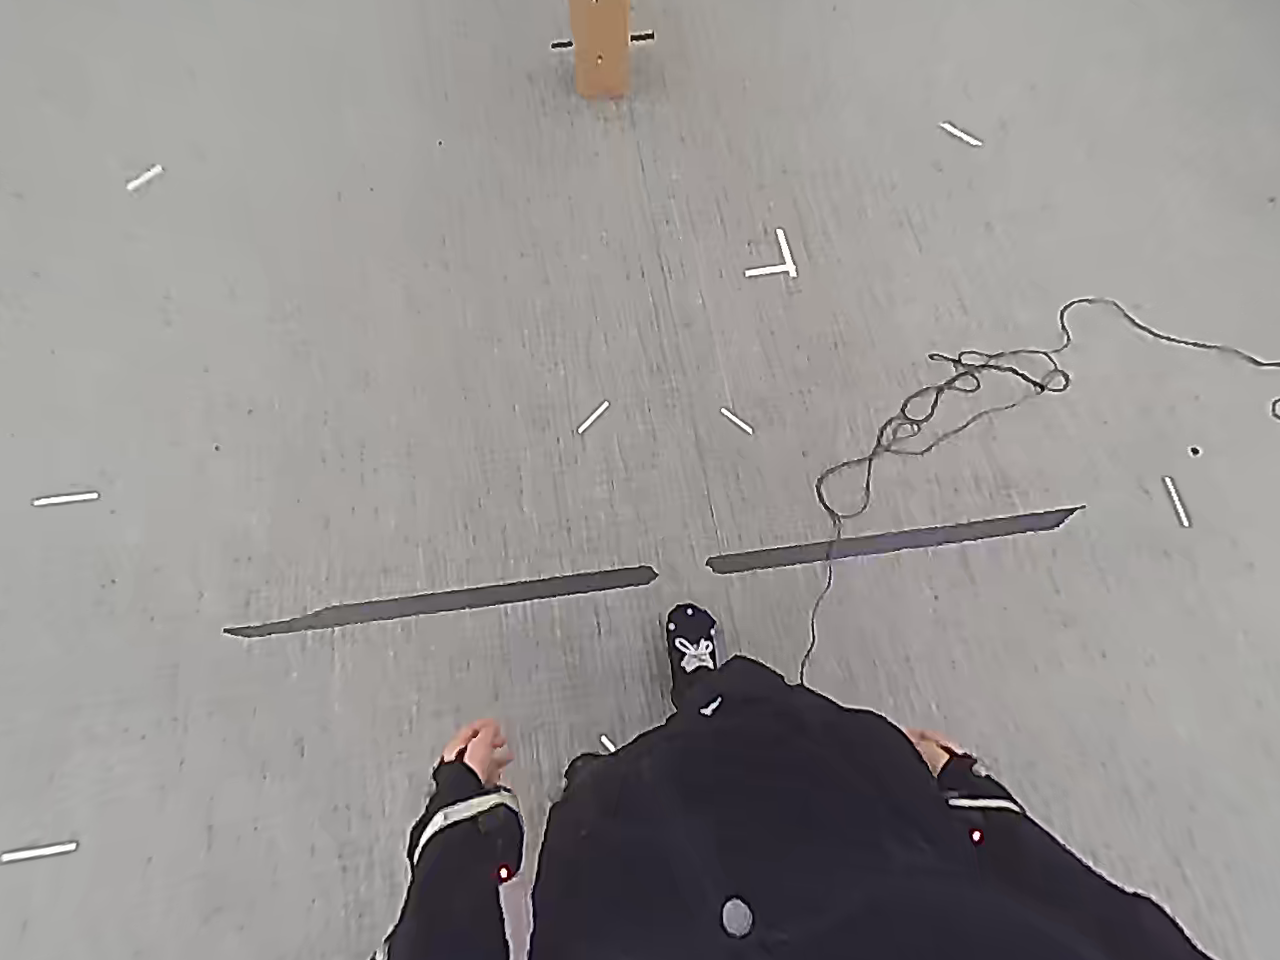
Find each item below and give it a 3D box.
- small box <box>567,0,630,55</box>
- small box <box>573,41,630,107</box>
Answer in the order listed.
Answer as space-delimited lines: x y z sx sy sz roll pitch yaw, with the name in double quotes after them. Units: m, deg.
-0.121 -1.411 1.611 0.179 0.176 0.168 2 75 -1 "small box"
-0.123 -1.357 1.766 0.179 0.176 0.168 -1 74 -2 "small box"
